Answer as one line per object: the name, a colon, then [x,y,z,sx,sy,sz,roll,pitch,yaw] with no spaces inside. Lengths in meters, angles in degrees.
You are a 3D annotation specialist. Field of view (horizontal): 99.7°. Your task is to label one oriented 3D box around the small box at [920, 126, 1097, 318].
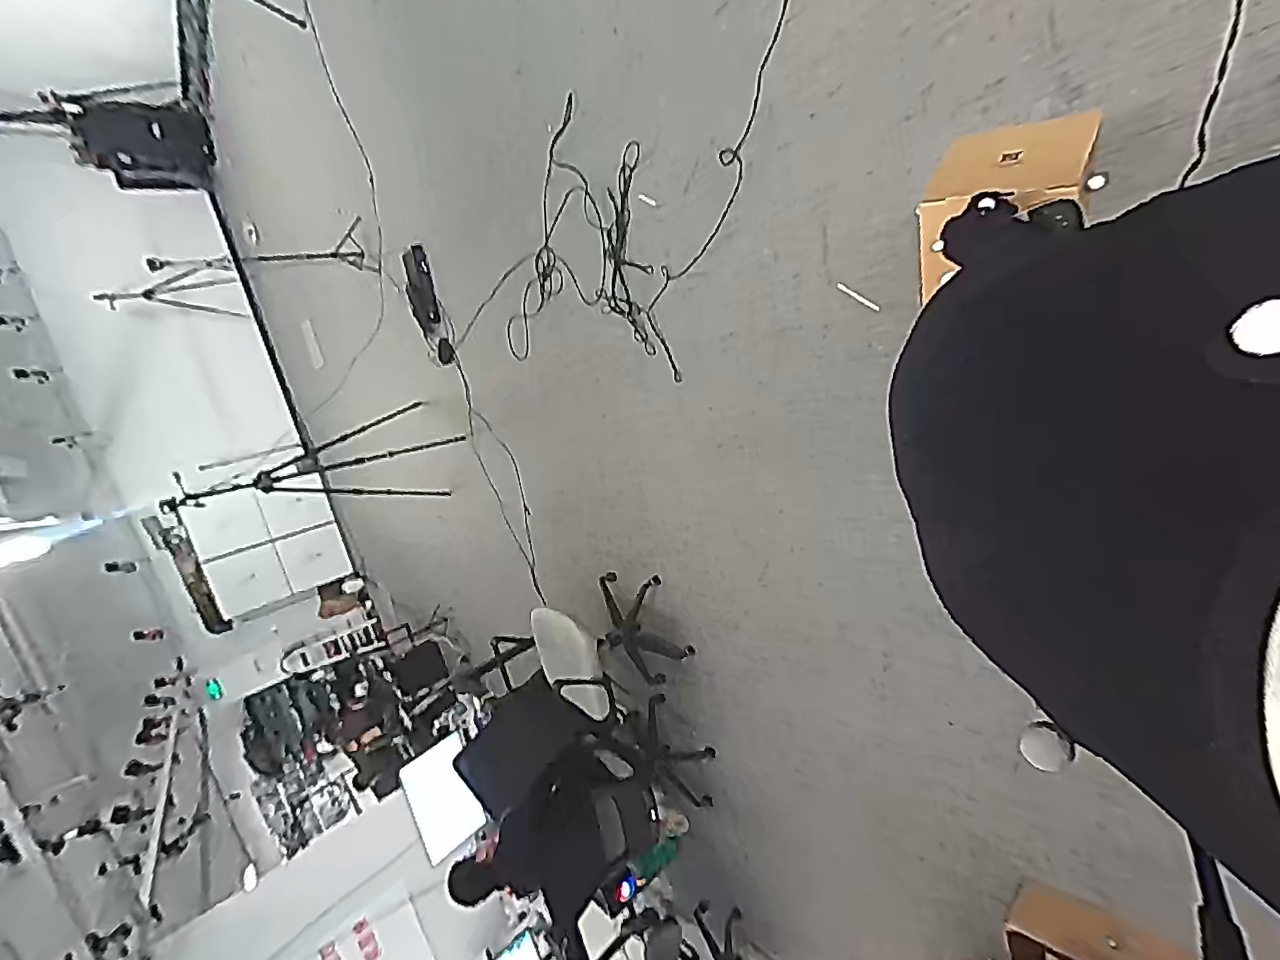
small box: [0.503,-0.348,0.751,0.168,0.179,0.176,13,147,38]
